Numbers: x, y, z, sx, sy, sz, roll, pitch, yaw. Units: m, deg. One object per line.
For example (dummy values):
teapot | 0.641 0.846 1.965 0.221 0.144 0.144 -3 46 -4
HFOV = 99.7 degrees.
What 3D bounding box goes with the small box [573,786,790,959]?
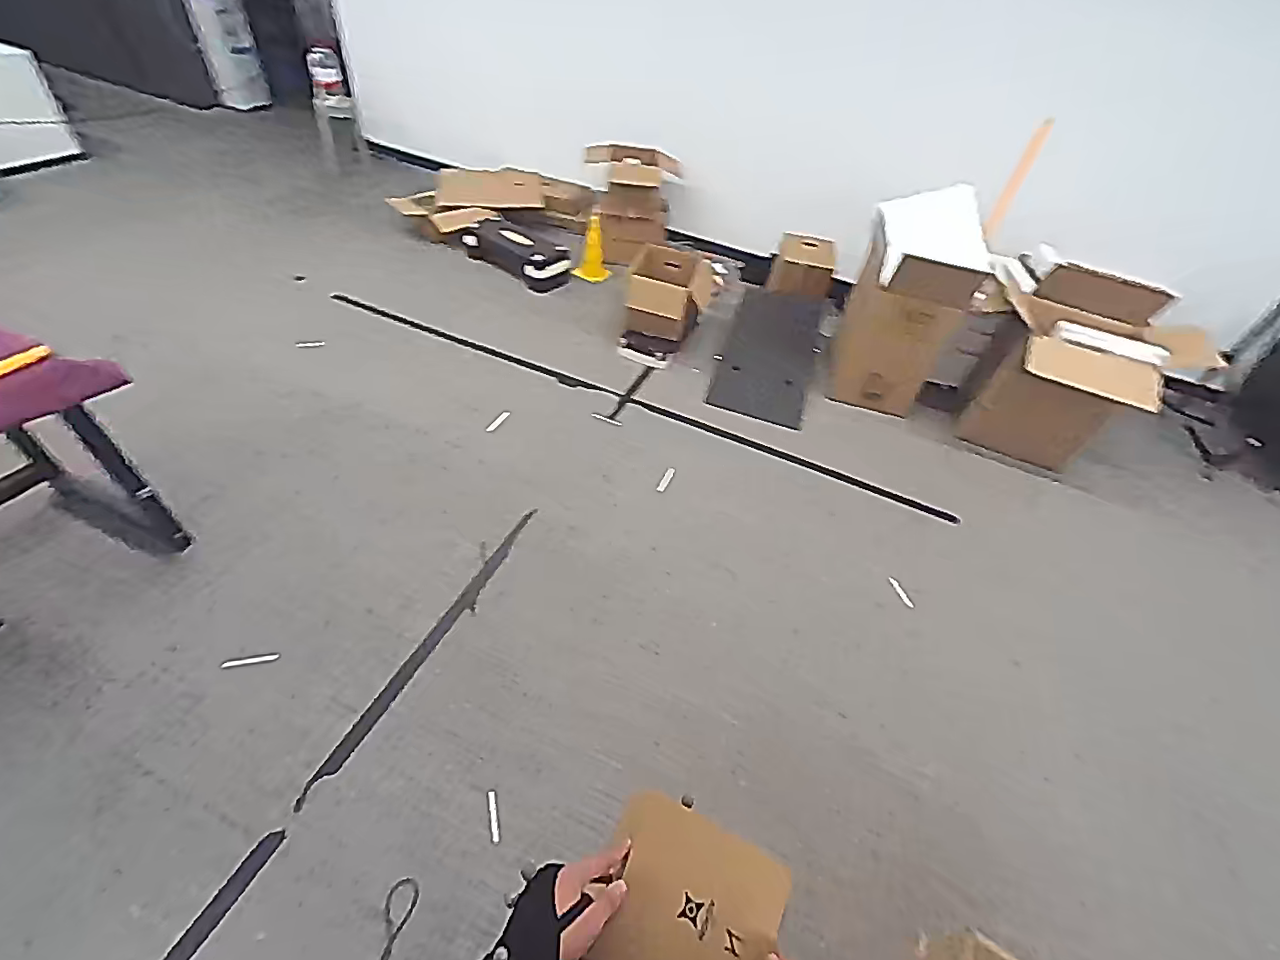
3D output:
small box | 0.037 0.480 0.617 0.179 0.176 0.168 29 59 5
